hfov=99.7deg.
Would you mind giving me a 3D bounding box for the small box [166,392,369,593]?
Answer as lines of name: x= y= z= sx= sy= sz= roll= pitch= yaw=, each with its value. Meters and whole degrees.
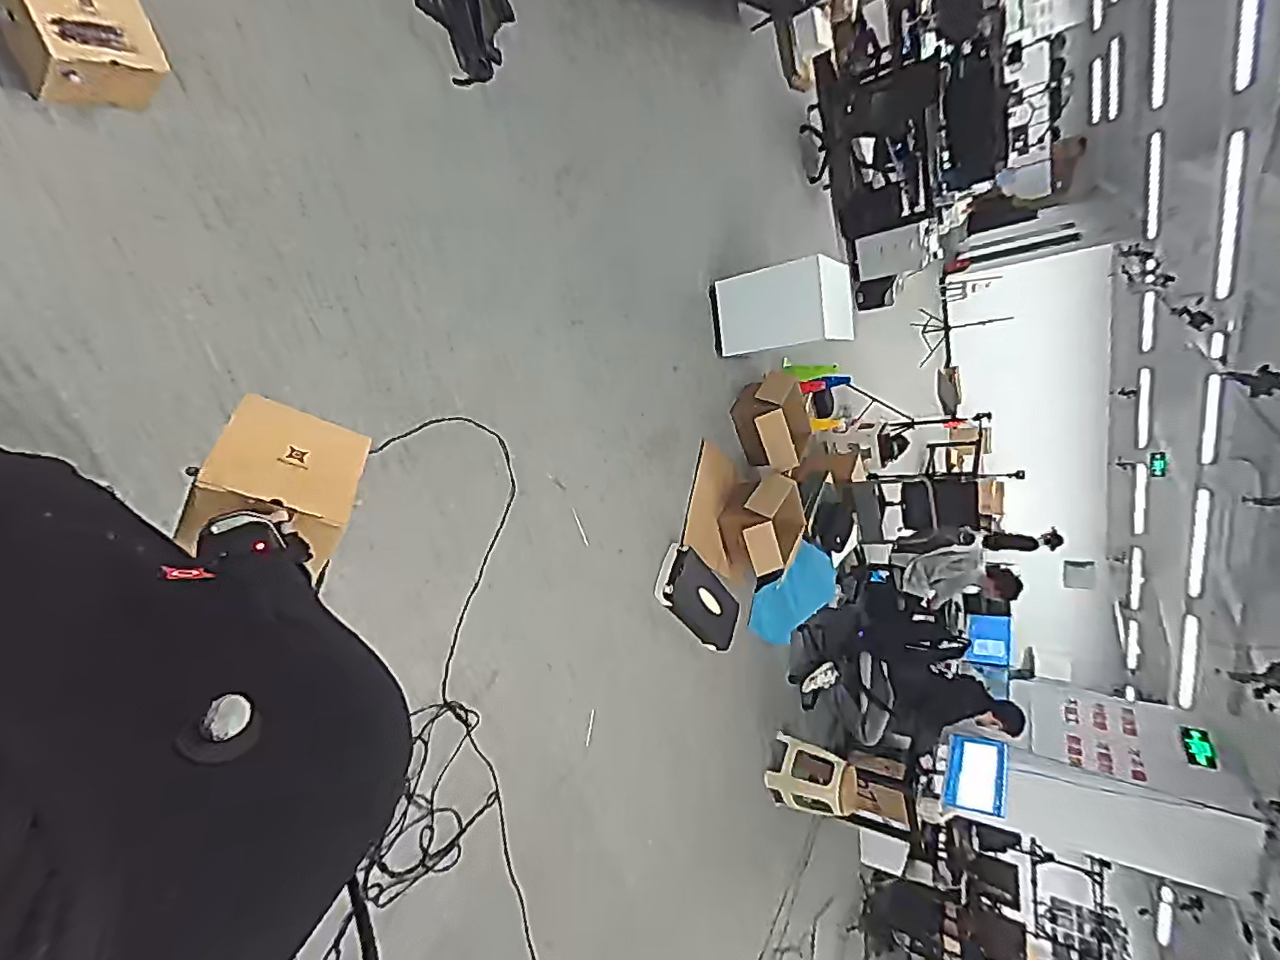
small box: x=-0.496 y=0.022 z=0.730 sx=0.168 sy=0.176 sz=0.179 roll=25 pitch=35 yaw=-33
